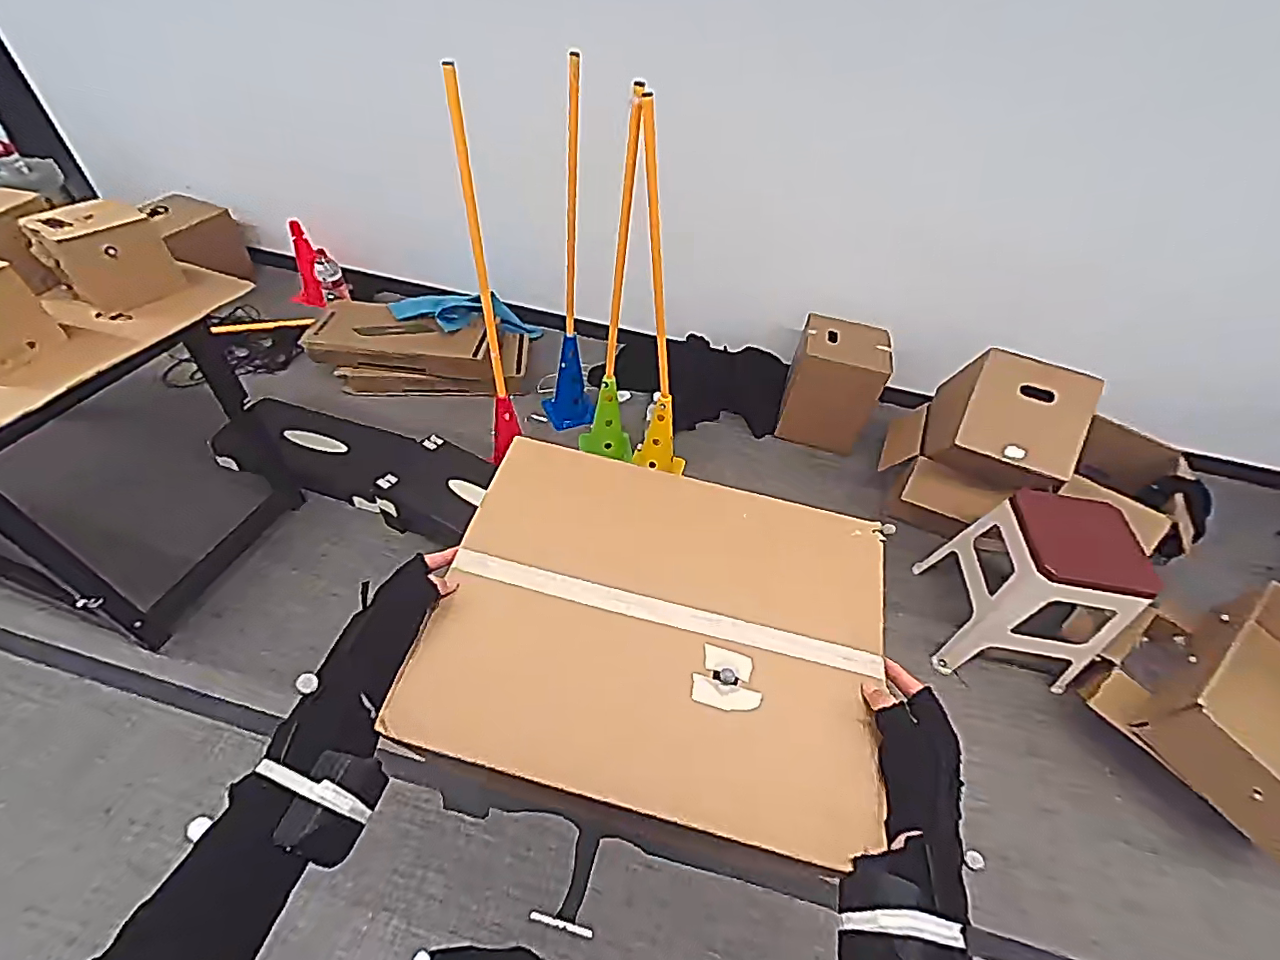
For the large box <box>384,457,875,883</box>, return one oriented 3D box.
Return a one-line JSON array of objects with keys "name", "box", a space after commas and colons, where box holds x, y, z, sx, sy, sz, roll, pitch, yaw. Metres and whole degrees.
[{"name": "large box", "box": [0.005, 0.222, 0.625, 0.408, 0.320, 0.320, 14, 57, 4]}]
